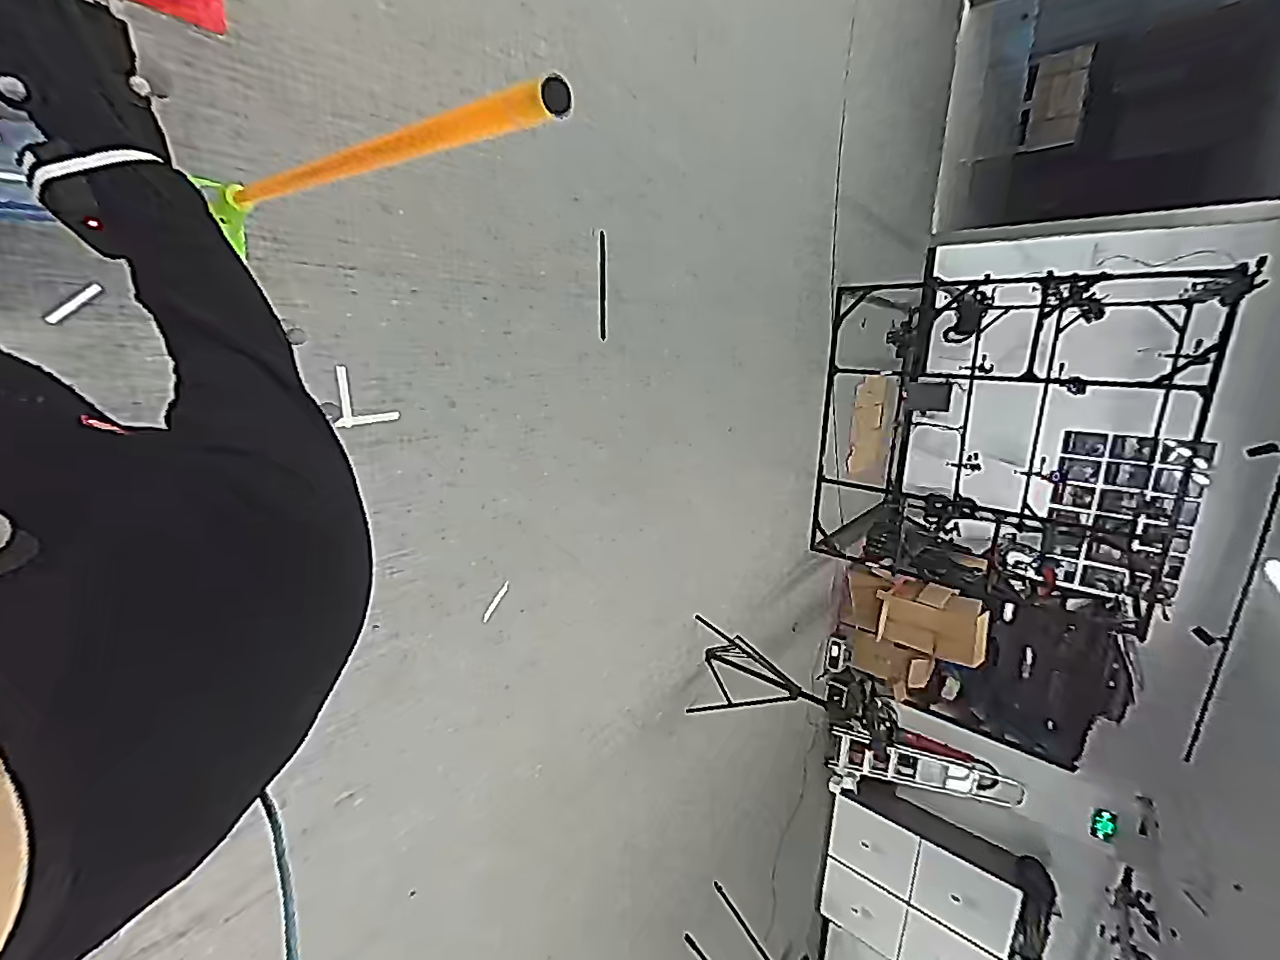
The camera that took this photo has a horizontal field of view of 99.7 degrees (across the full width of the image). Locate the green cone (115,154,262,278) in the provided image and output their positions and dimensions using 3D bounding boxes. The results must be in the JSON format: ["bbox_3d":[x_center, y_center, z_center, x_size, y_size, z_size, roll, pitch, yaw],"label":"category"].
[{"bbox_3d":[-0.800,-0.505,1.008,0.202,0.368,0.200,-10,108,-51],"label":"green cone"}]

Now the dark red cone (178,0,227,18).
[{"bbox_3d":[-0.760,-0.976,0.897,0.201,0.394,0.202,-16,113,-51],"label":"dark red cone"}]
